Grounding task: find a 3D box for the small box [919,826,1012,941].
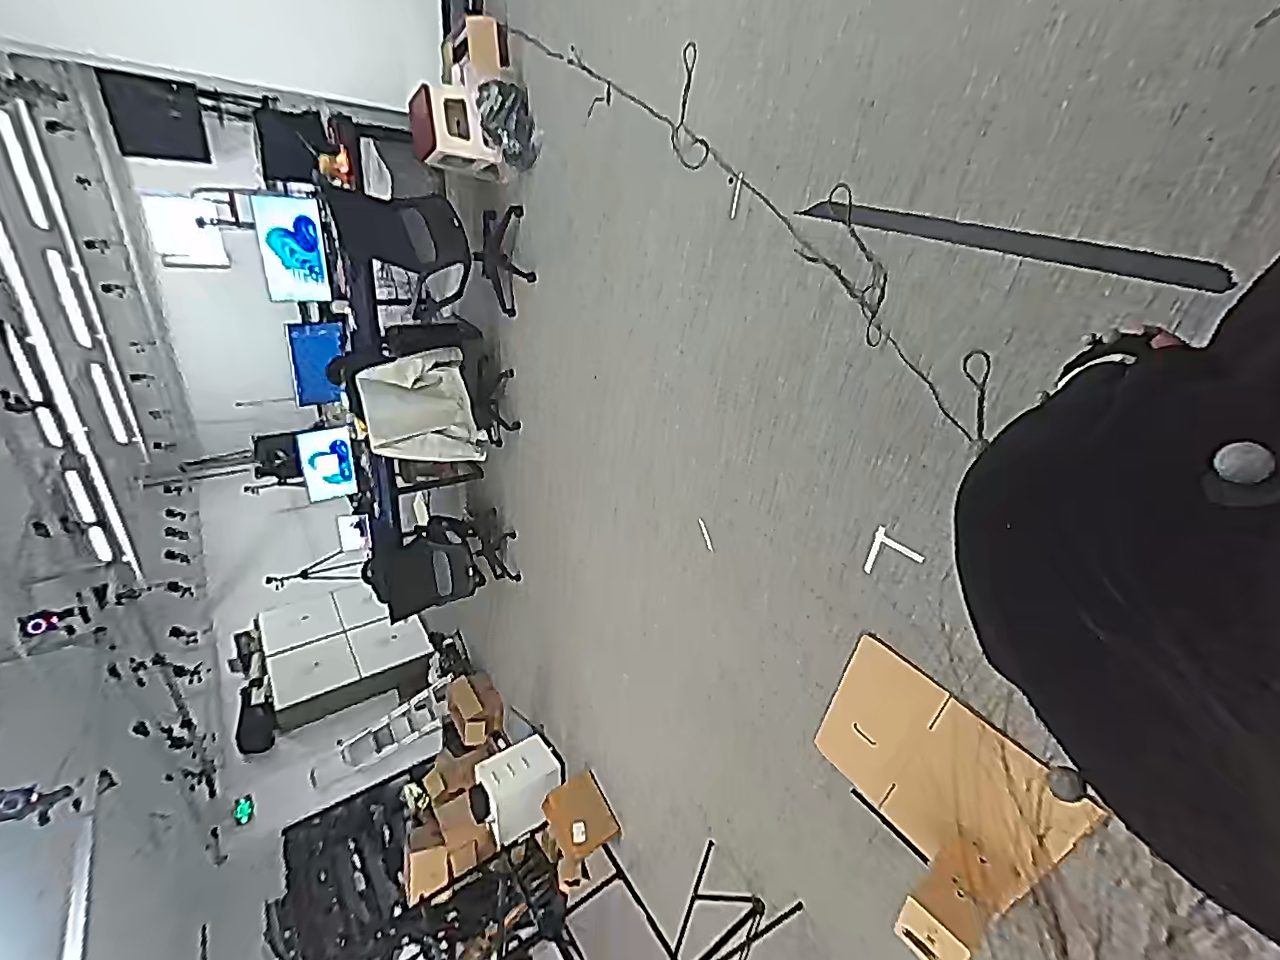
[{"bbox_3d":[0.962,1.182,1.595,0.168,0.176,0.179,27,123,46],"label":"small box"}]
